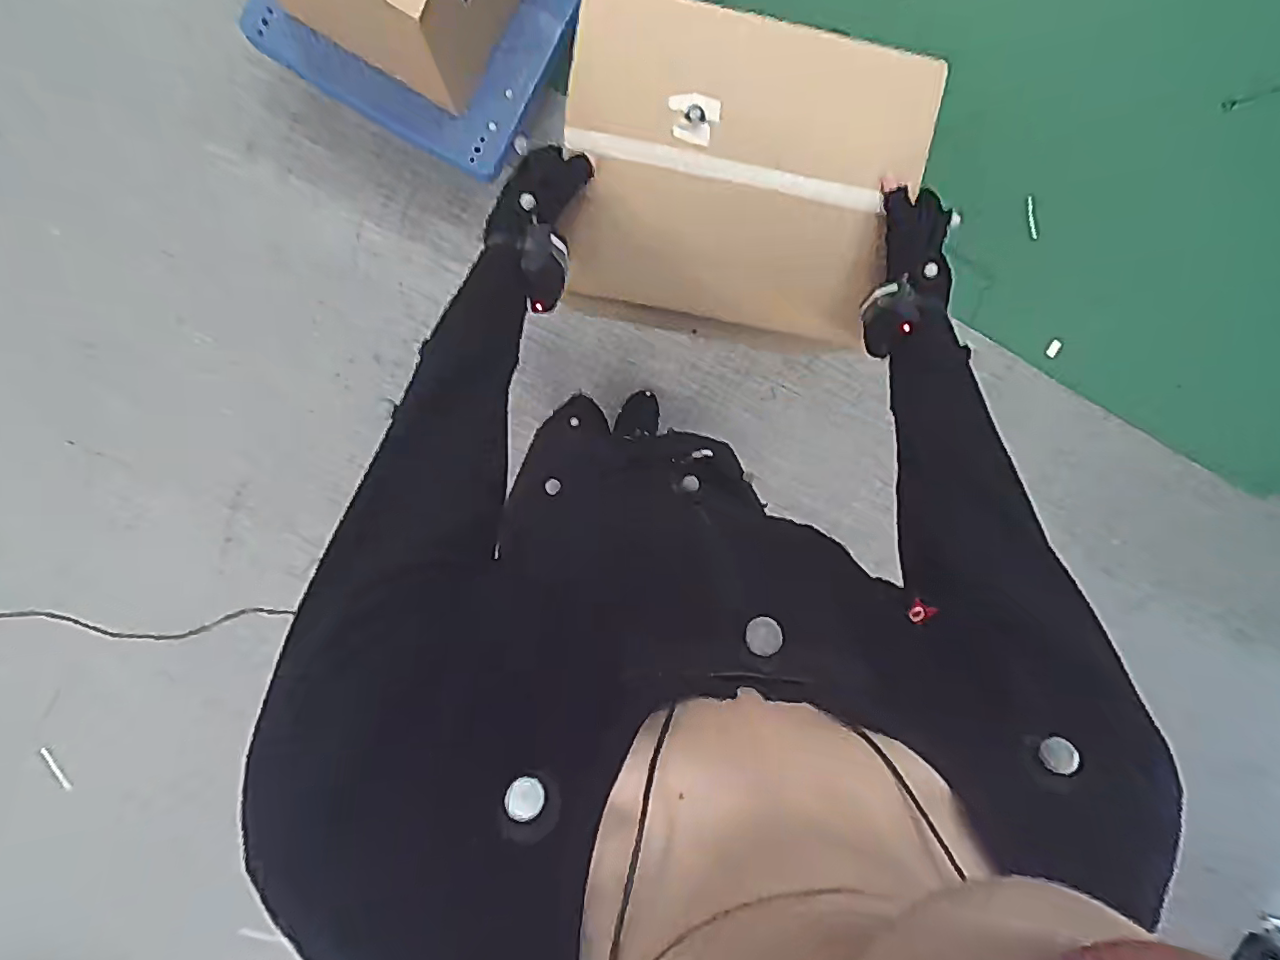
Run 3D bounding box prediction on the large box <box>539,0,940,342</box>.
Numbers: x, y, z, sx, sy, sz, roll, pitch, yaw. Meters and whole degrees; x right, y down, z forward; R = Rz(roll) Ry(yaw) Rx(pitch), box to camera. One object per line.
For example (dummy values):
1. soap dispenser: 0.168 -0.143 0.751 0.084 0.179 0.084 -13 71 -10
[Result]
1. large box: 0.100 -0.373 0.740 0.408 0.320 0.320 9 101 -3
